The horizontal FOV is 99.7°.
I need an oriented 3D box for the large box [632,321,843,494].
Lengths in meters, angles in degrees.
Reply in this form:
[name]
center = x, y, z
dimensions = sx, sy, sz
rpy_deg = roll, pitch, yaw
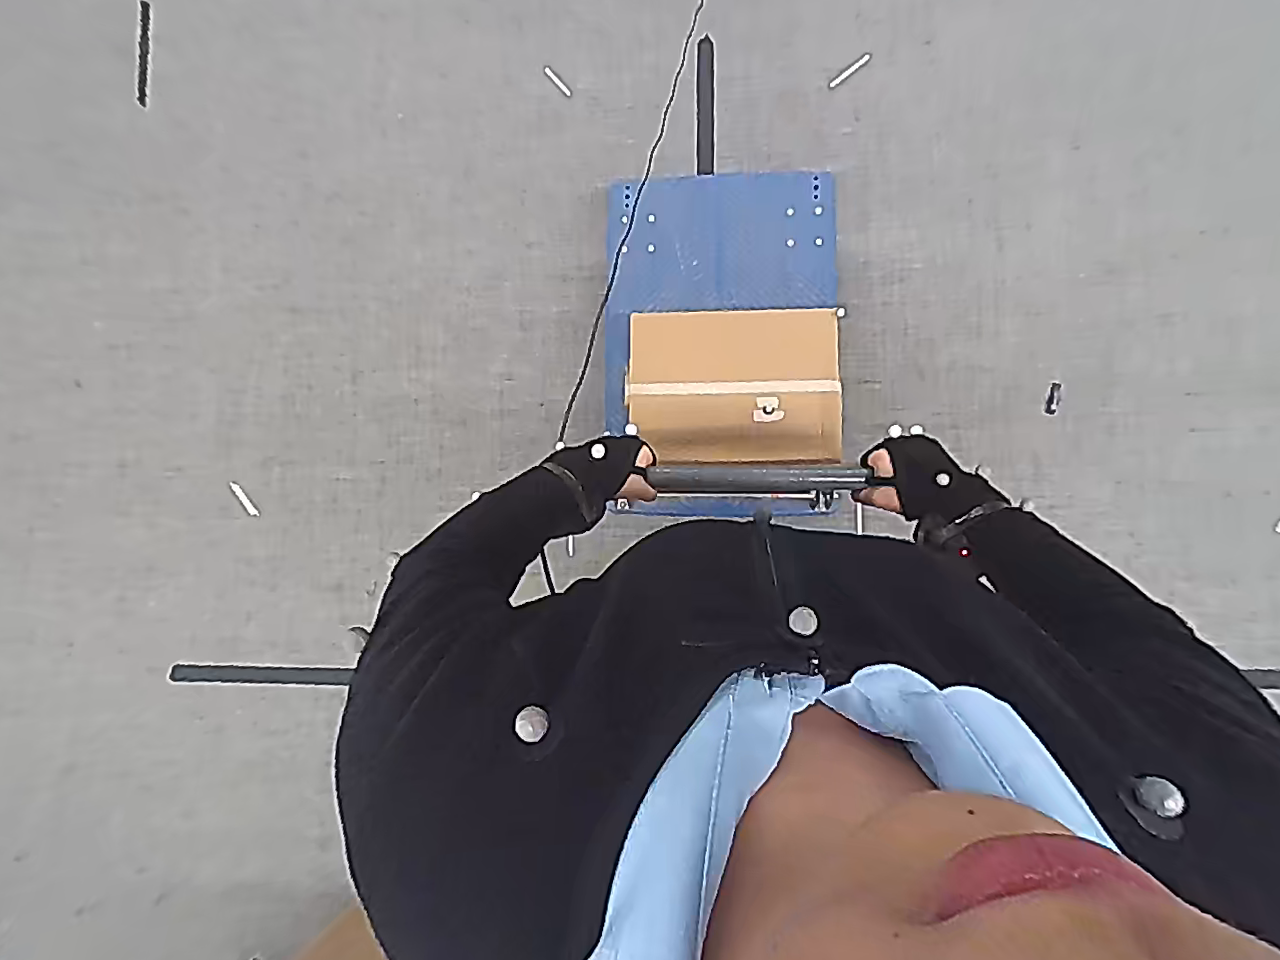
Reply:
[large box]
center = 0.192, -0.137, 1.186
dimensions = 0.408, 0.320, 0.320
rpy_deg = 0, 85, 4
